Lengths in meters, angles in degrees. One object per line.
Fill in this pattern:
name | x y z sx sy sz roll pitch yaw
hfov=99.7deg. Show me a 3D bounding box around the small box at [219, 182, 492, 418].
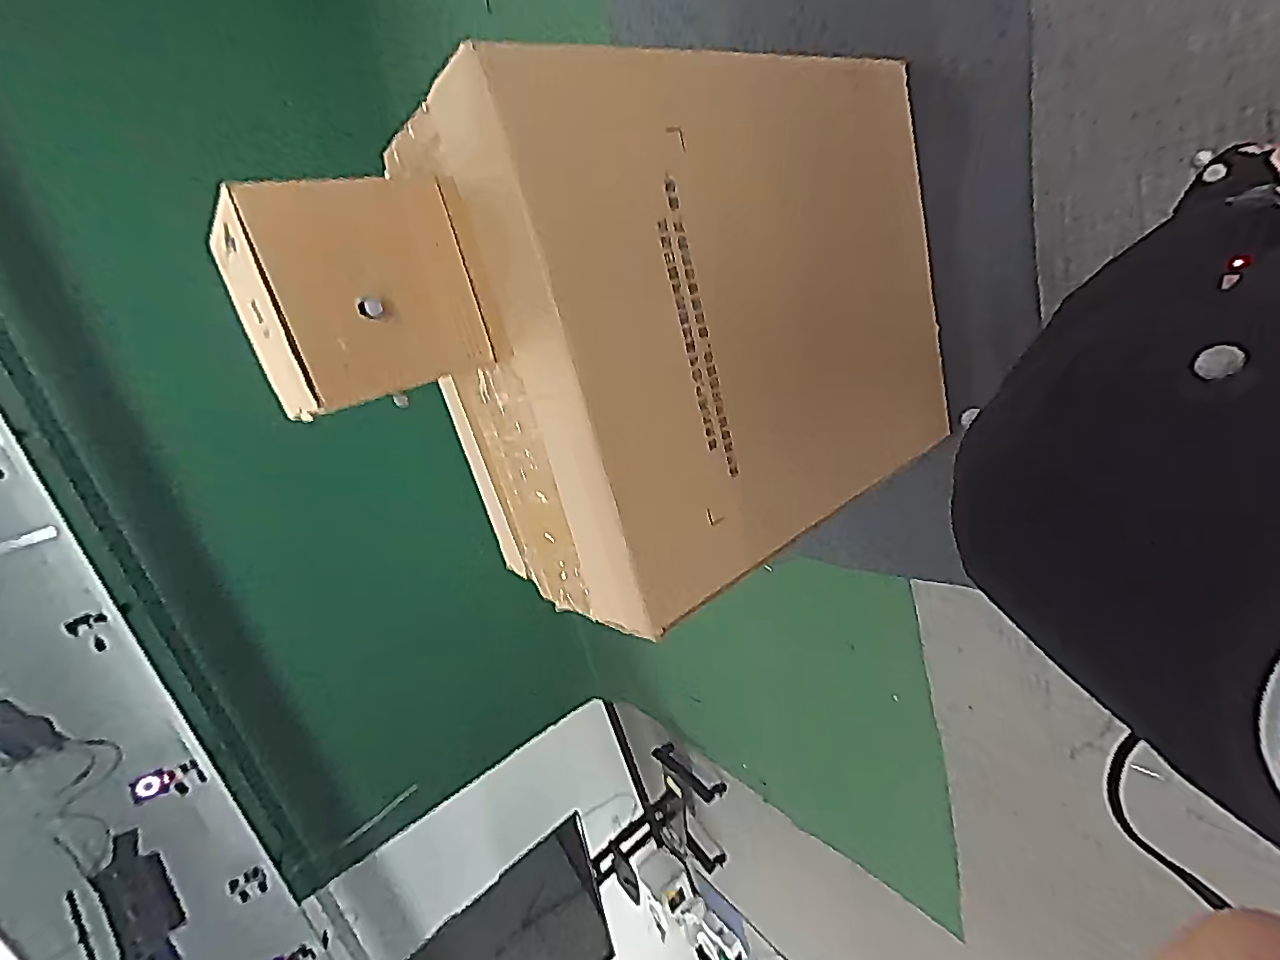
small box | -0.272 -0.171 0.533 0.168 0.176 0.179 4 116 48
